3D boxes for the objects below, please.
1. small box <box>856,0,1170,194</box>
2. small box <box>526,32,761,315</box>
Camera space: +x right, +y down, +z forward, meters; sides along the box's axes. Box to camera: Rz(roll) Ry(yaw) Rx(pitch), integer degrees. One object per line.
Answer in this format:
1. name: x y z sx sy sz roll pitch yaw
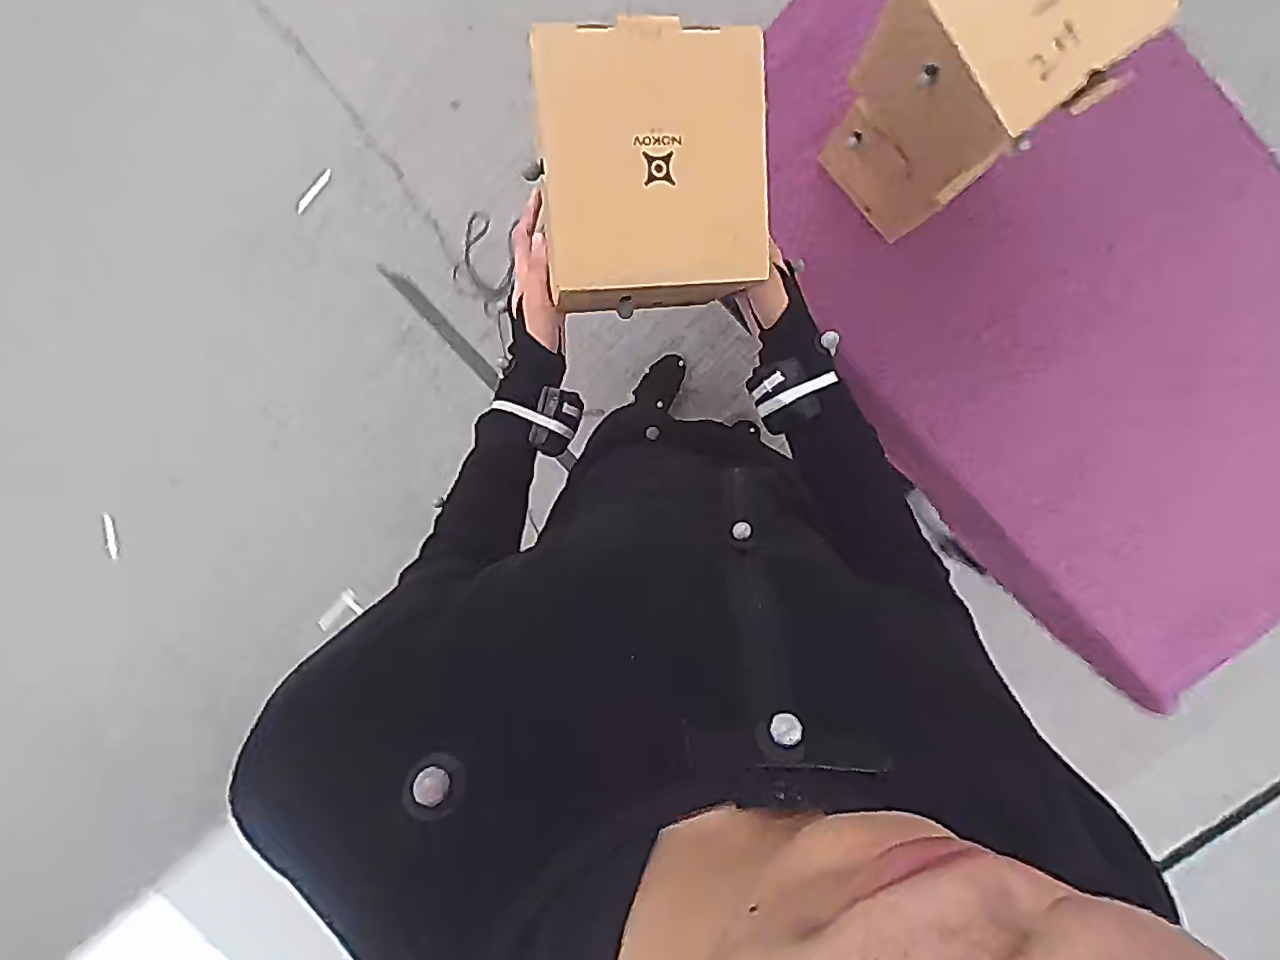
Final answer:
1. small box: 0.355 -0.439 0.556 0.168 0.176 0.179 -35 96 8
2. small box: -0.004 -0.244 0.474 0.168 0.176 0.179 -7 101 -9
